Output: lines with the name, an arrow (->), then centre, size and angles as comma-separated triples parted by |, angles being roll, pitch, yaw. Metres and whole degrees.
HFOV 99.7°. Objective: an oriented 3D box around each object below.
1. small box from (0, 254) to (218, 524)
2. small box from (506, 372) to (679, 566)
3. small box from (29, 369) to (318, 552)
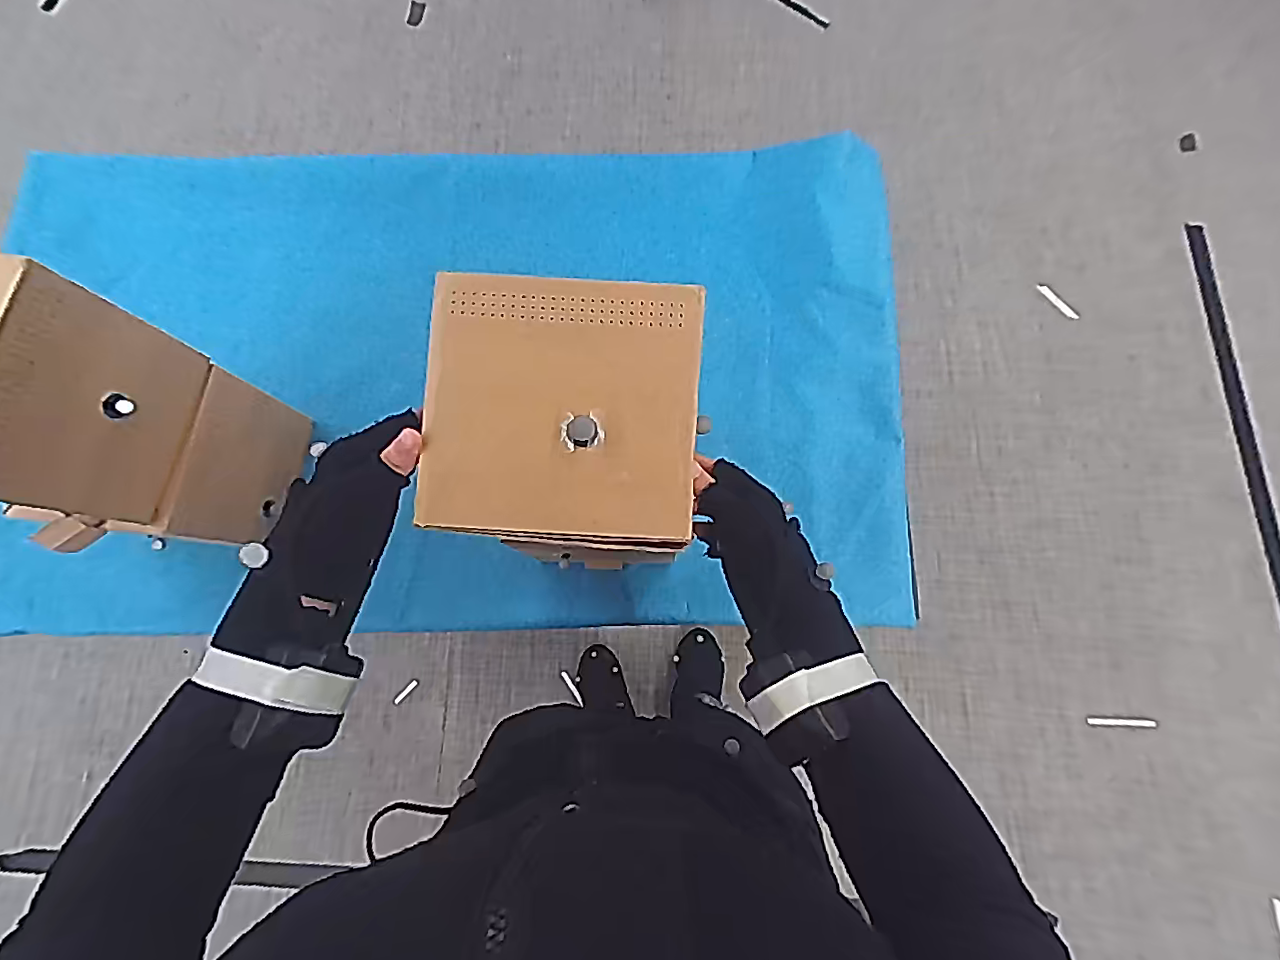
small box -> -0.524, -0.070, 0.458 | 0.168, 0.176, 0.179 | 9, 79, 3
small box -> -0.044, -0.002, 0.599 | 0.168, 0.176, 0.179 | 0, 75, 2
small box -> -0.513, -0.021, 0.615 | 0.168, 0.176, 0.179 | 6, 77, 2
